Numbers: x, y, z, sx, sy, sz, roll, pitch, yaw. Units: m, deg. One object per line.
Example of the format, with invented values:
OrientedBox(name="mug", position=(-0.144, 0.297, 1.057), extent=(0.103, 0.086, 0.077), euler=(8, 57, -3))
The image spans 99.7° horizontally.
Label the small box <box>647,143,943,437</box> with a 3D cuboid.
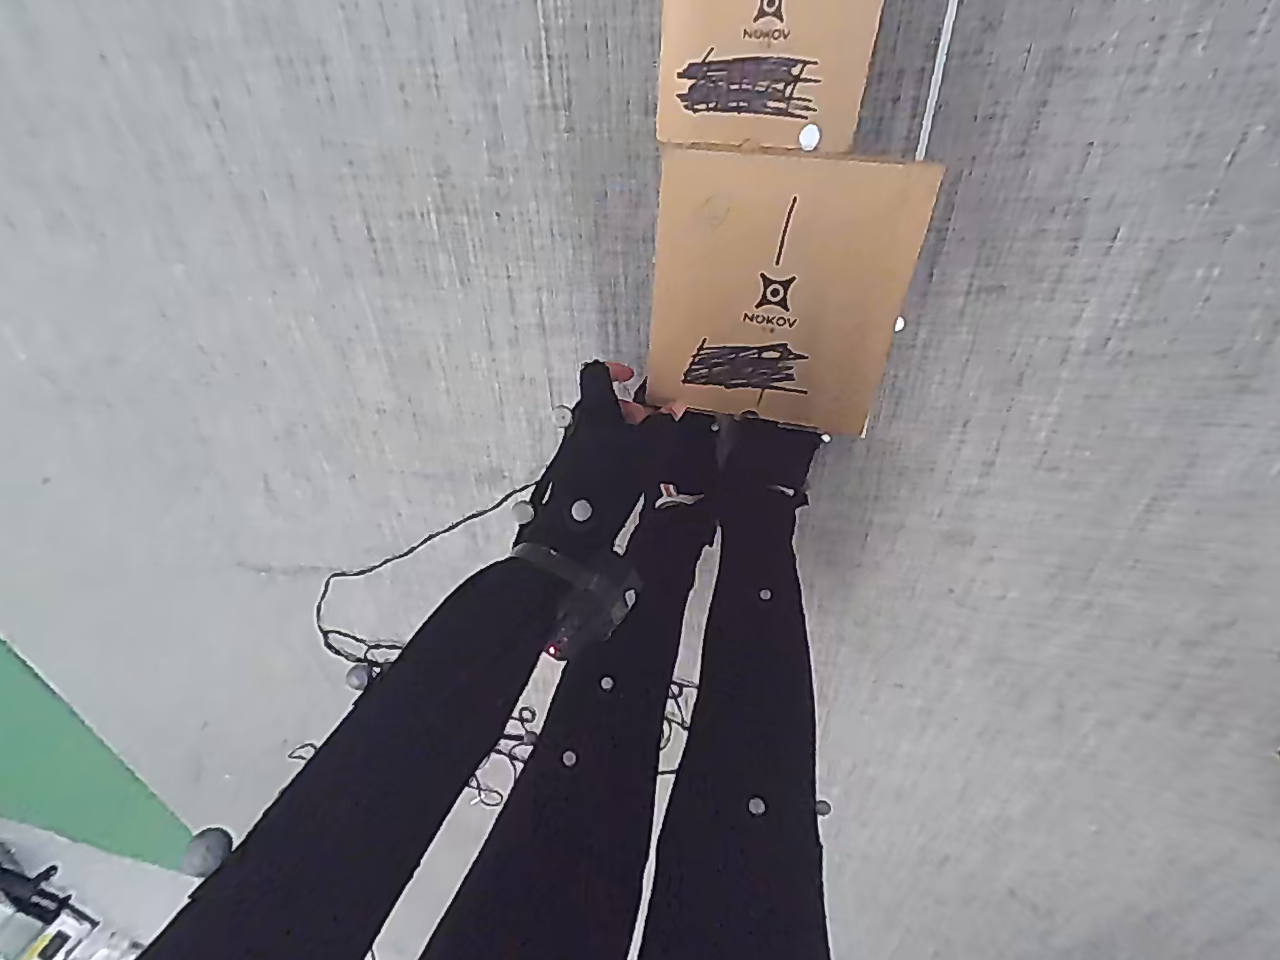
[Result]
OrientedBox(name="small box", position=(0.109, -0.159, 0.431), extent=(0.168, 0.176, 0.179), euler=(11, 123, 9))
